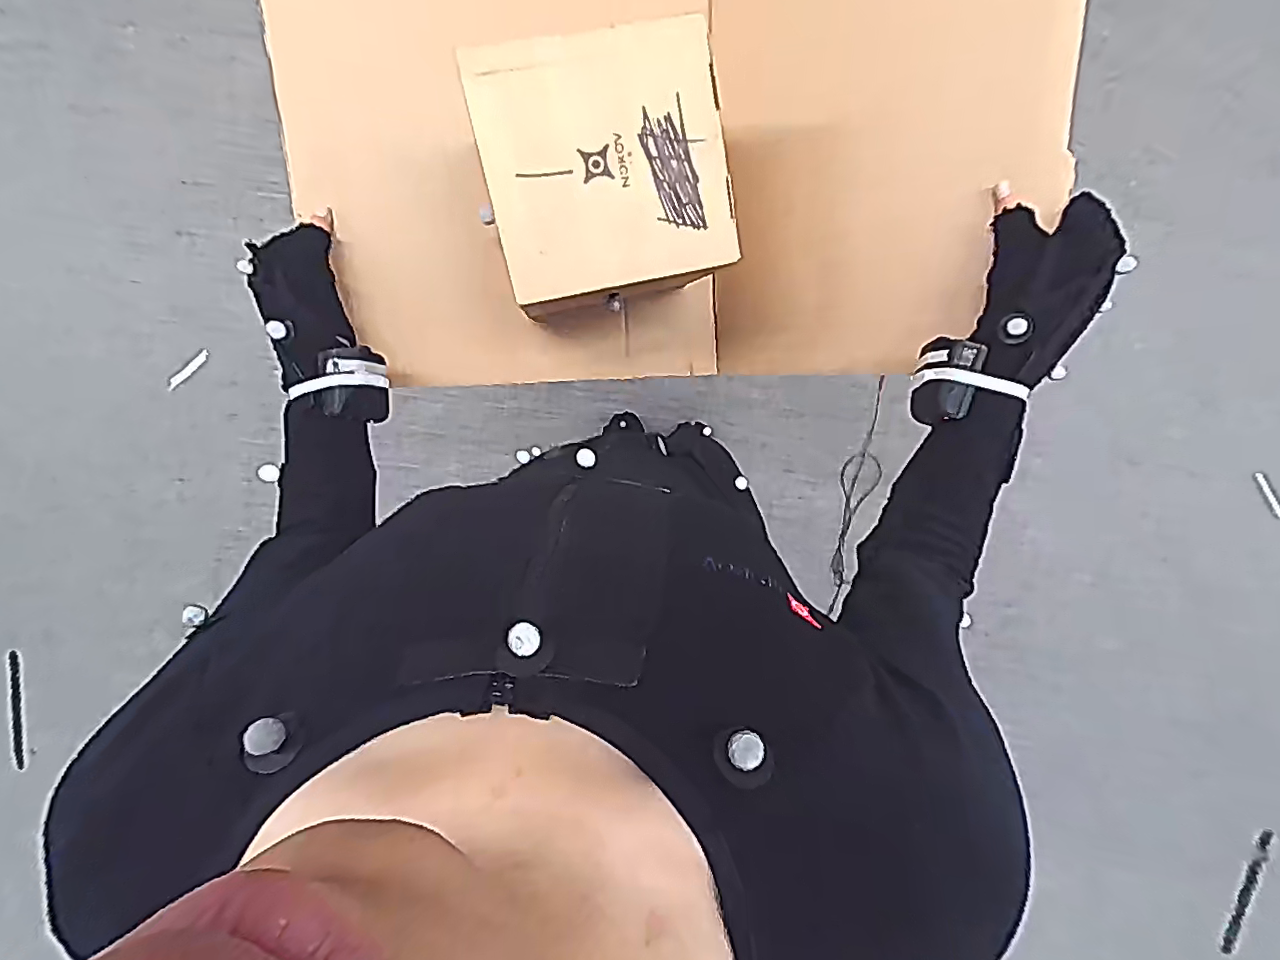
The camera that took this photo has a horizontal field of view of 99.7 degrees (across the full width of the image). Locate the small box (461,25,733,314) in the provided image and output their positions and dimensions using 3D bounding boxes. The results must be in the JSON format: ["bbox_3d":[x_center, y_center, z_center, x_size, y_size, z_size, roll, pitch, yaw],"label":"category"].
[{"bbox_3d":[-0.037,-0.248,0.473,0.179,0.176,0.168,-14,105,-5],"label":"small box"}]
